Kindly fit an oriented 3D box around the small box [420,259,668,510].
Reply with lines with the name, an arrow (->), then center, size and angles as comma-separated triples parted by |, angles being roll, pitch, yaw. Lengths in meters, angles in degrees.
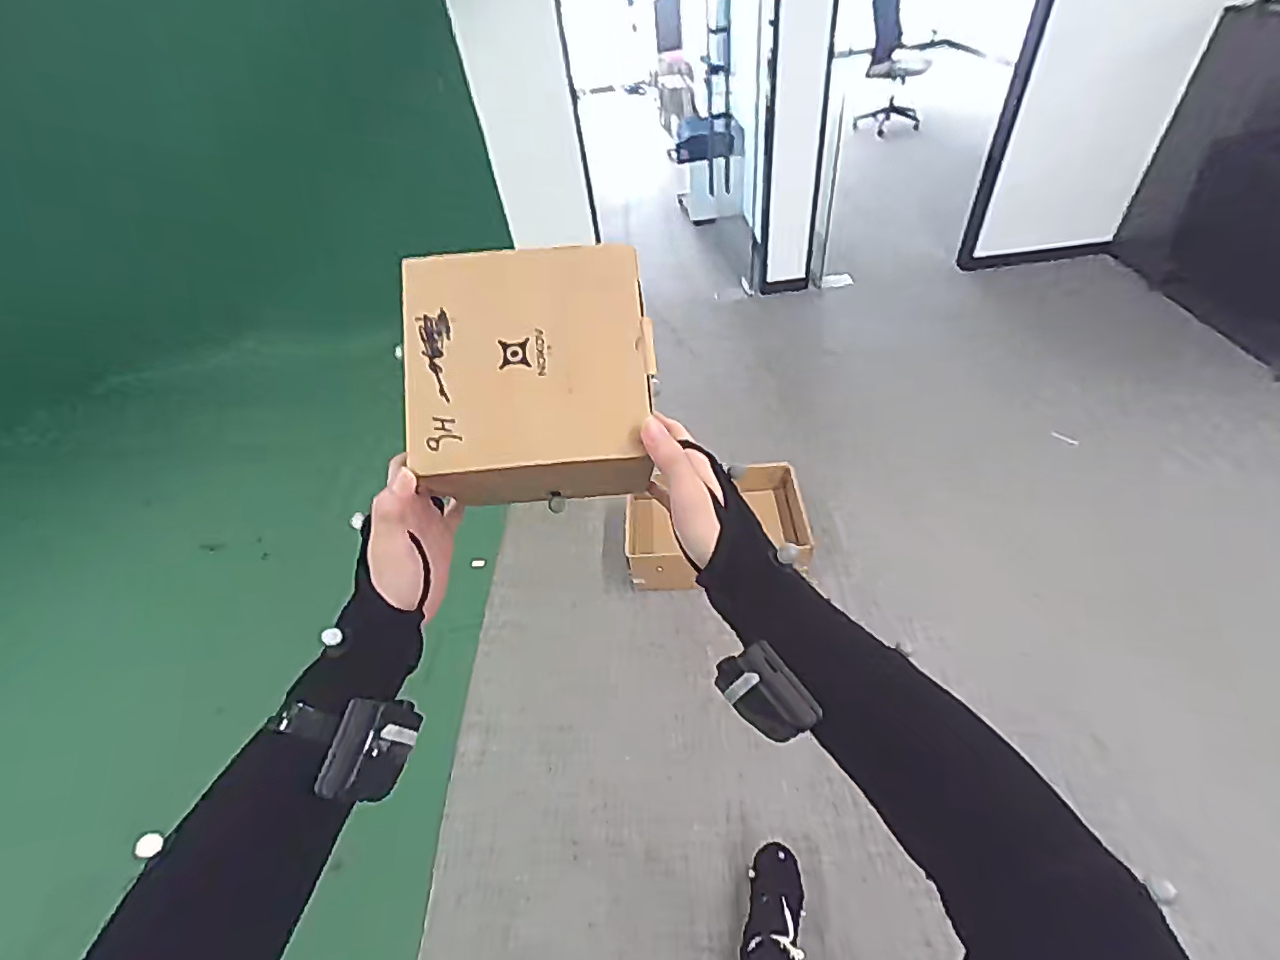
small box -> -0.077, -0.069, 0.473 | 0.179, 0.176, 0.168 | -5, 79, -3
